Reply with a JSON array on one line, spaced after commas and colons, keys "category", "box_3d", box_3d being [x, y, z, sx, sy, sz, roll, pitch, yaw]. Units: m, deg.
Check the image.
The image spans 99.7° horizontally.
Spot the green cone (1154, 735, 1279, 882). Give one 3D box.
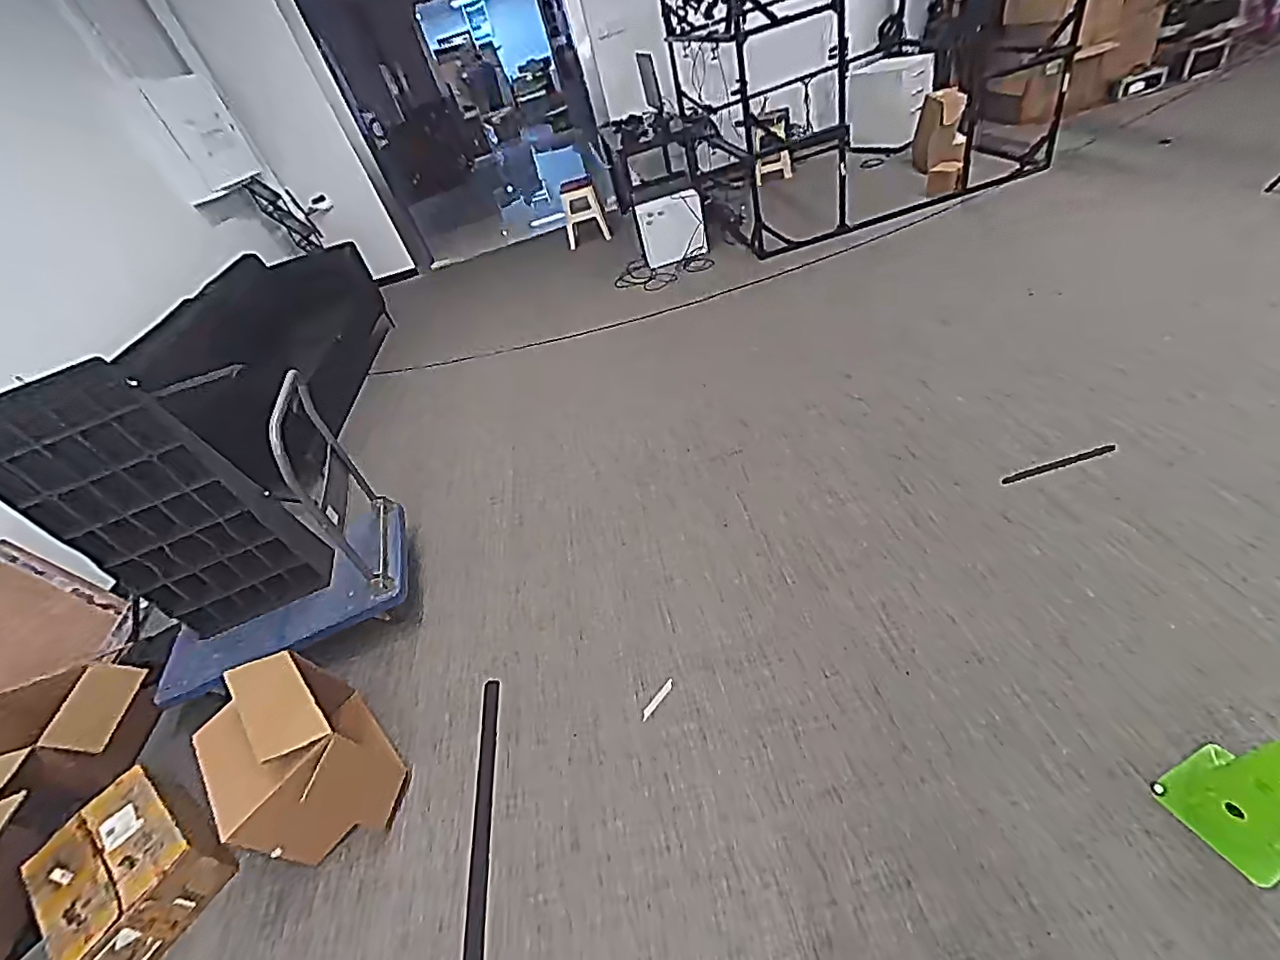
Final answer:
[{"category": "green cone", "box_3d": [1.150, 0.523, 0.964, 0.202, 0.368, 0.200, -26, 41, -10]}]
